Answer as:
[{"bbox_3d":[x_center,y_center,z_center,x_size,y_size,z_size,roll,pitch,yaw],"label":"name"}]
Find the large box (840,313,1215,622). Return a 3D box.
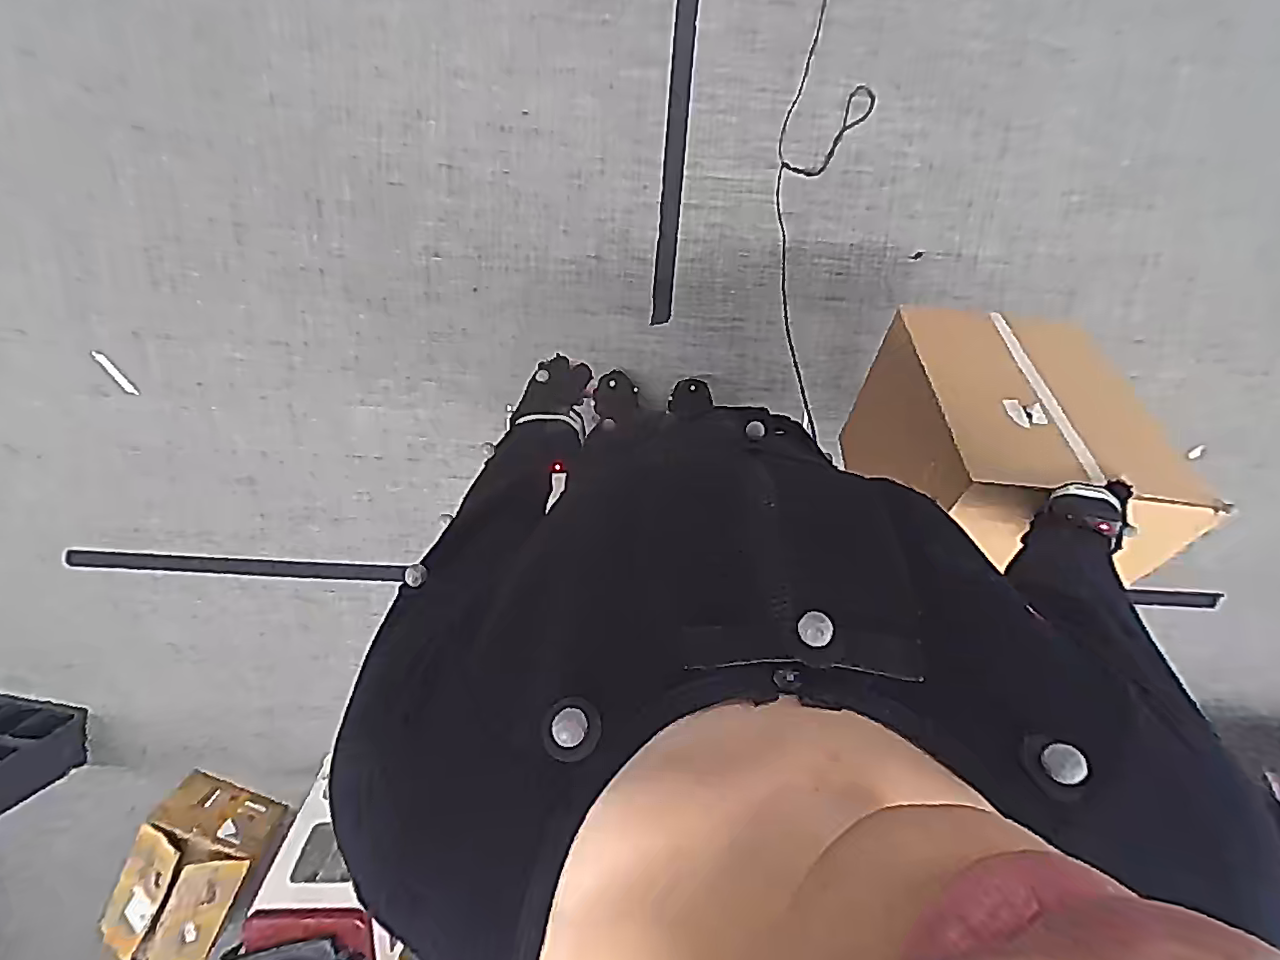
[{"bbox_3d":[0.567,-0.024,0.910,0.320,0.408,0.320,6,140,1],"label":"large box"}]
